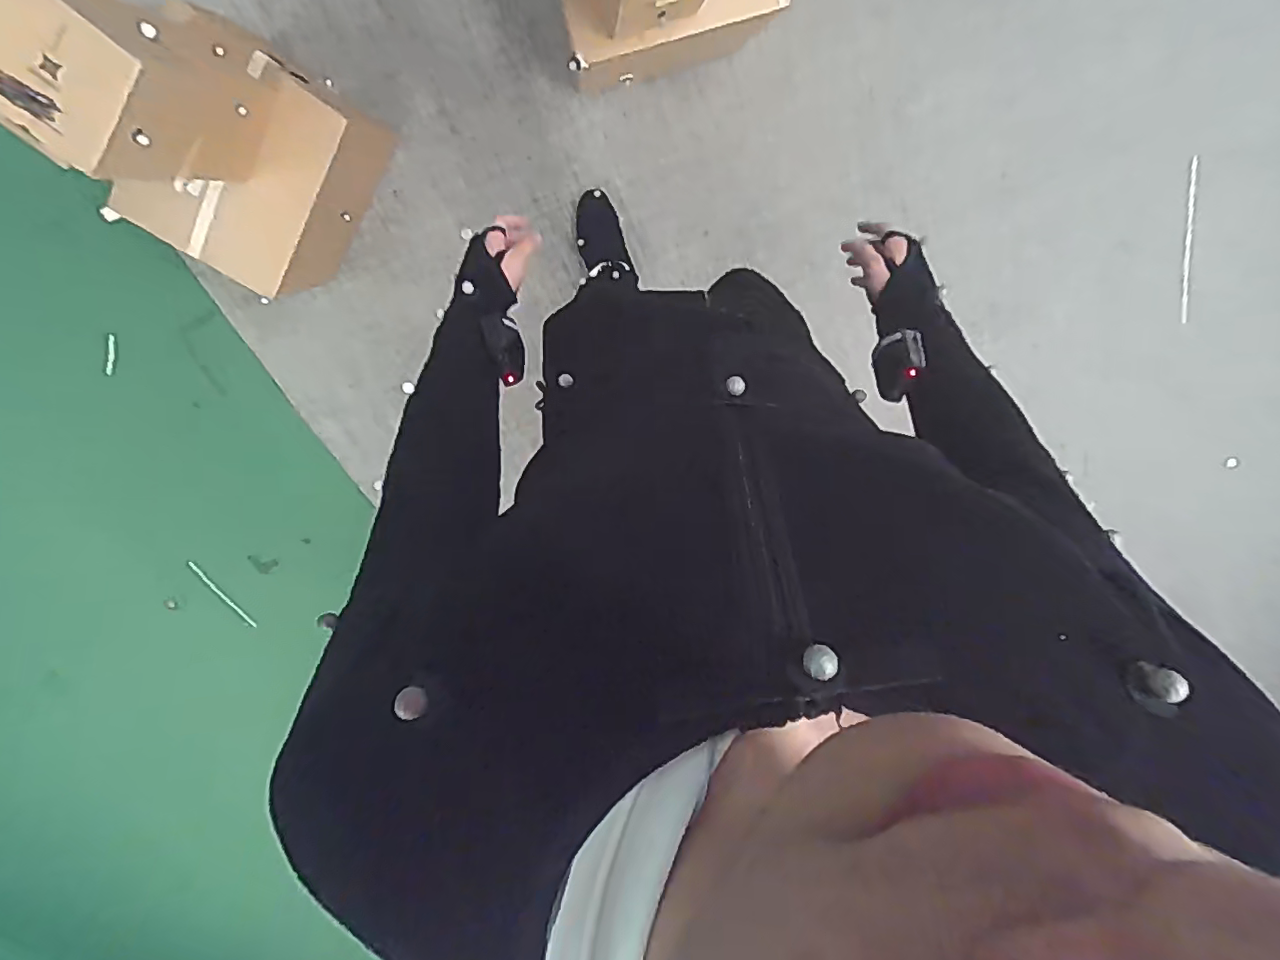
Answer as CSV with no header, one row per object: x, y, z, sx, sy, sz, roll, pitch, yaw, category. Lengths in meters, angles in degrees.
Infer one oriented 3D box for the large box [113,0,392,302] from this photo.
-0.793,-0.665,1.150,0.320,0.320,0.408,31,112,-18,large box

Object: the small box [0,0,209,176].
-0.755,-0.550,0.749,0.168,0.176,0.179,38,108,-22,small box

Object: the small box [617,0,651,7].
0.024,-0.769,0.714,0.168,0.176,0.179,-17,118,4,small box

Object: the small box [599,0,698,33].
0.007,-0.845,0.856,0.168,0.176,0.179,-17,119,3,small box
